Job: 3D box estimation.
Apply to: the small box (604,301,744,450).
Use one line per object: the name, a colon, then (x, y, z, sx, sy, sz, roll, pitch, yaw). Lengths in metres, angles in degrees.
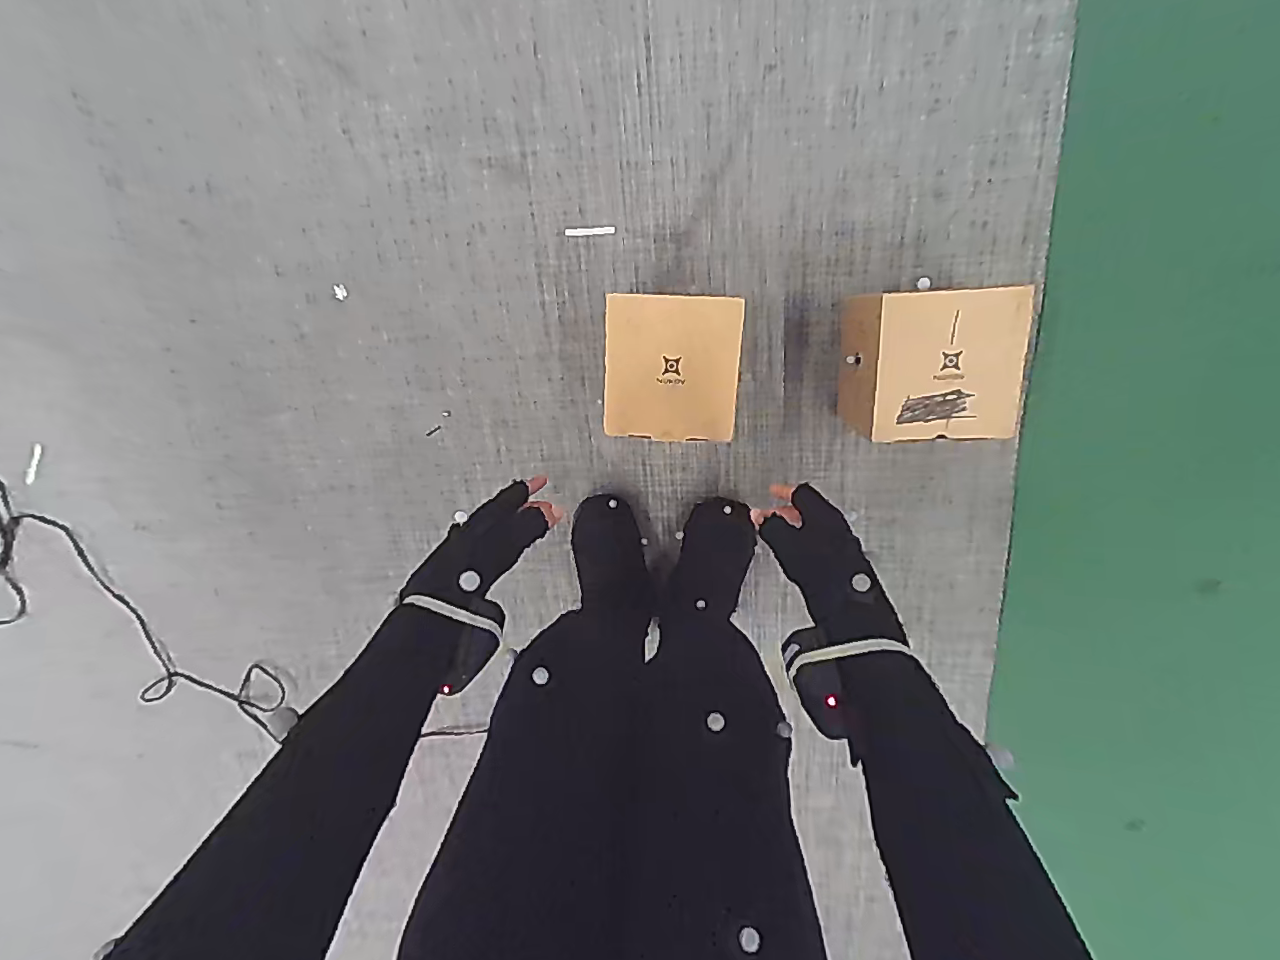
small box: (0.043, -0.148, 0.738, 0.168, 0.176, 0.179, 3, 108, 4)

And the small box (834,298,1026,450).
small box: (0.361, -0.144, 0.711, 0.168, 0.176, 0.179, -1, 106, 5)
